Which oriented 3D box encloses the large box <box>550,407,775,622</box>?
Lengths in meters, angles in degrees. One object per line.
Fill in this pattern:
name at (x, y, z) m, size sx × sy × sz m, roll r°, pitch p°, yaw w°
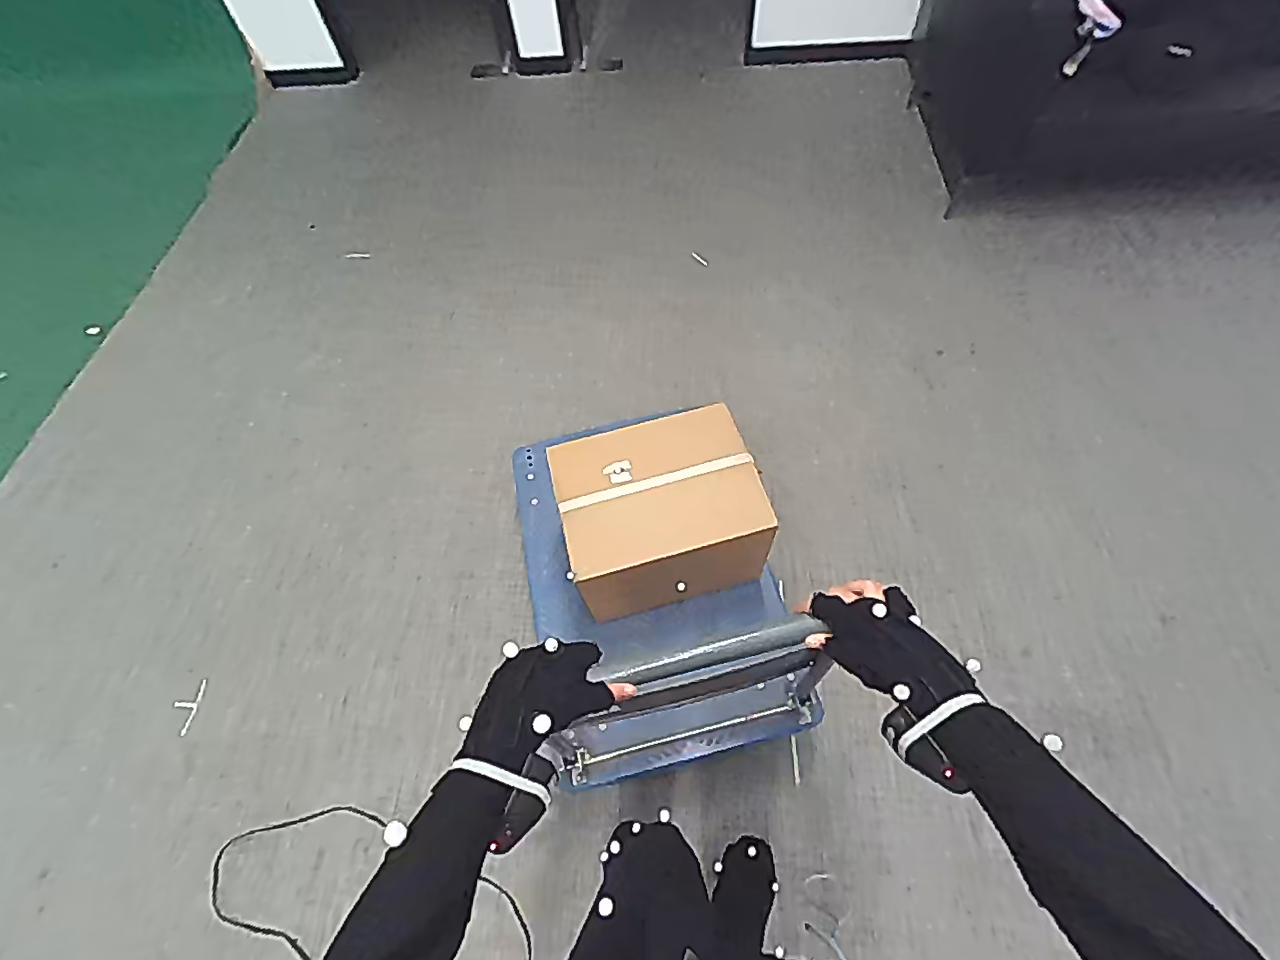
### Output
large box at (0.049, 0.090, 1.238) m, size 0.408 × 0.320 × 0.320 m, roll -16°, pitch 60°, yaw -3°
